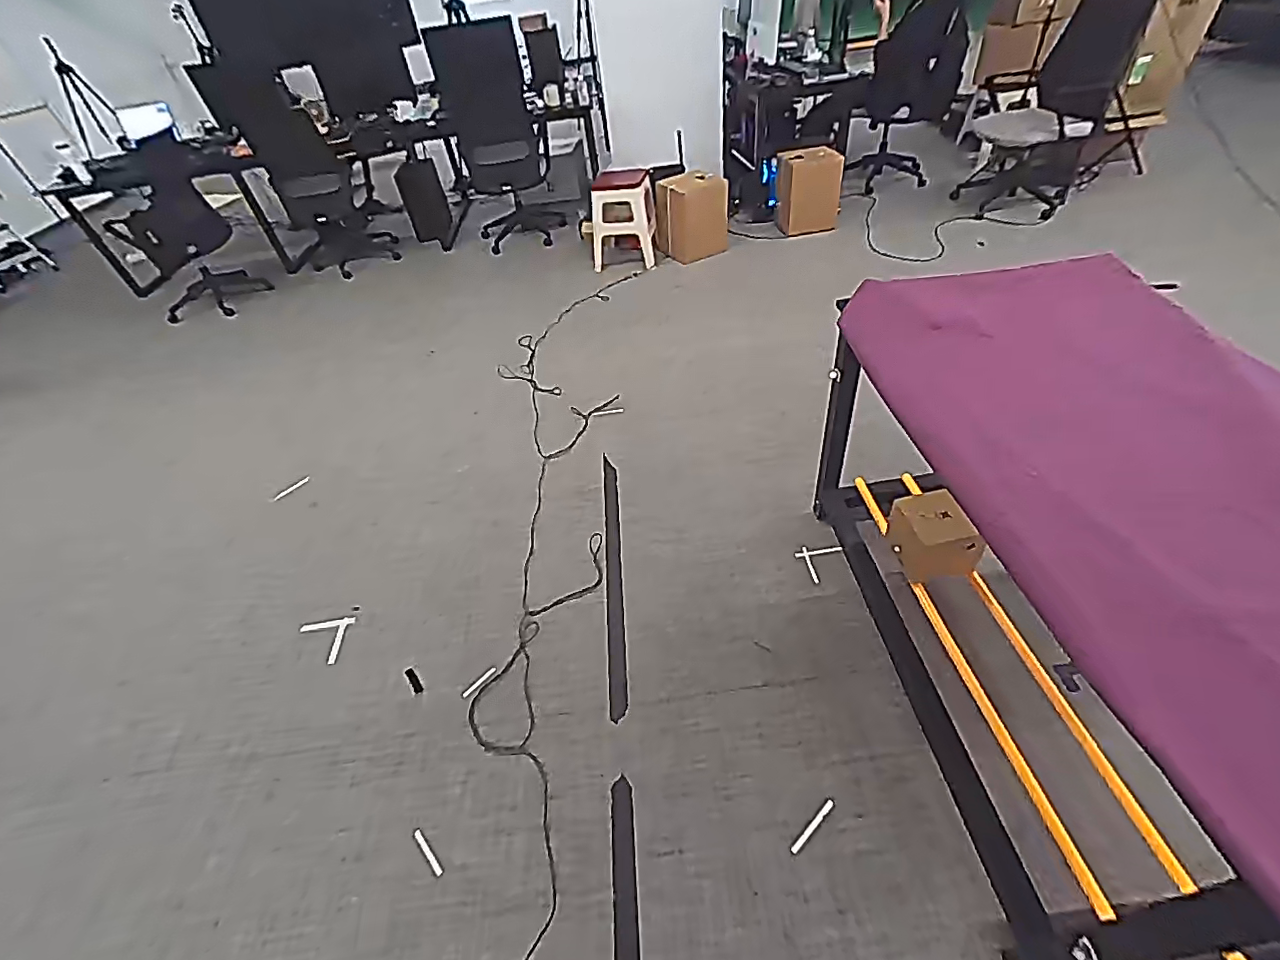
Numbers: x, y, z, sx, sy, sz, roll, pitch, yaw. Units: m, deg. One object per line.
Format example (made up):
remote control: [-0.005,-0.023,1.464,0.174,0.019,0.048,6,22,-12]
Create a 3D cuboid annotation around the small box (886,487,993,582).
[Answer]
small box: [0.782,0.146,1.434,0.179,0.176,0.168,-12,44,0]
